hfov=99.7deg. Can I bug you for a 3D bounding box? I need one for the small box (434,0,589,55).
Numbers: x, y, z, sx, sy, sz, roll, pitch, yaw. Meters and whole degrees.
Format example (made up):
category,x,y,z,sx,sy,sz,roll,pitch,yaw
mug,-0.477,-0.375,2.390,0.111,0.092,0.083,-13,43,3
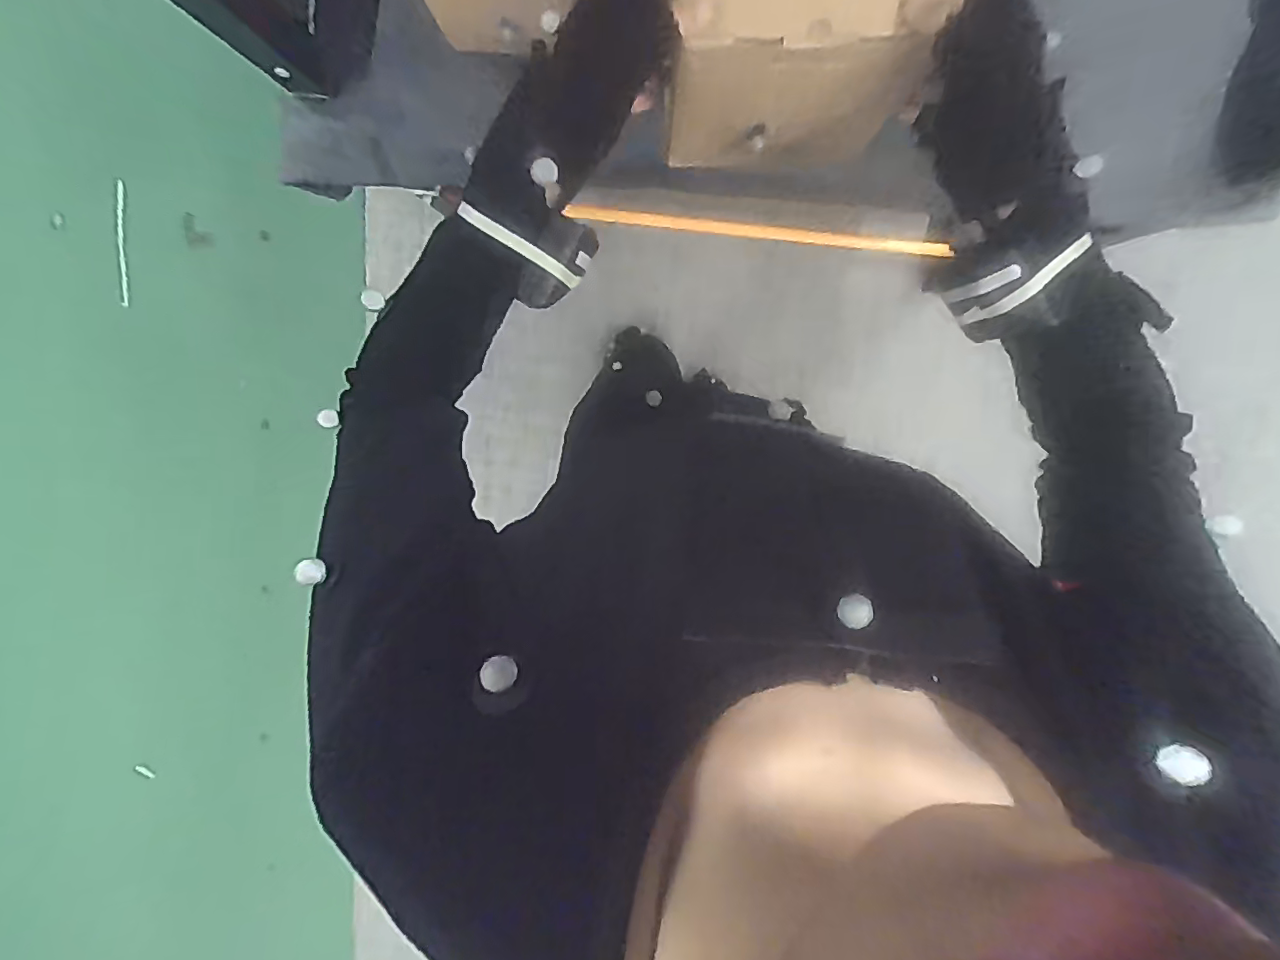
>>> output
category,x,y,z,sx,sy,sz,roll,pitch,yaw
small box,-0.141,-0.586,0.553,0.168,0.176,0.179,4,101,2
